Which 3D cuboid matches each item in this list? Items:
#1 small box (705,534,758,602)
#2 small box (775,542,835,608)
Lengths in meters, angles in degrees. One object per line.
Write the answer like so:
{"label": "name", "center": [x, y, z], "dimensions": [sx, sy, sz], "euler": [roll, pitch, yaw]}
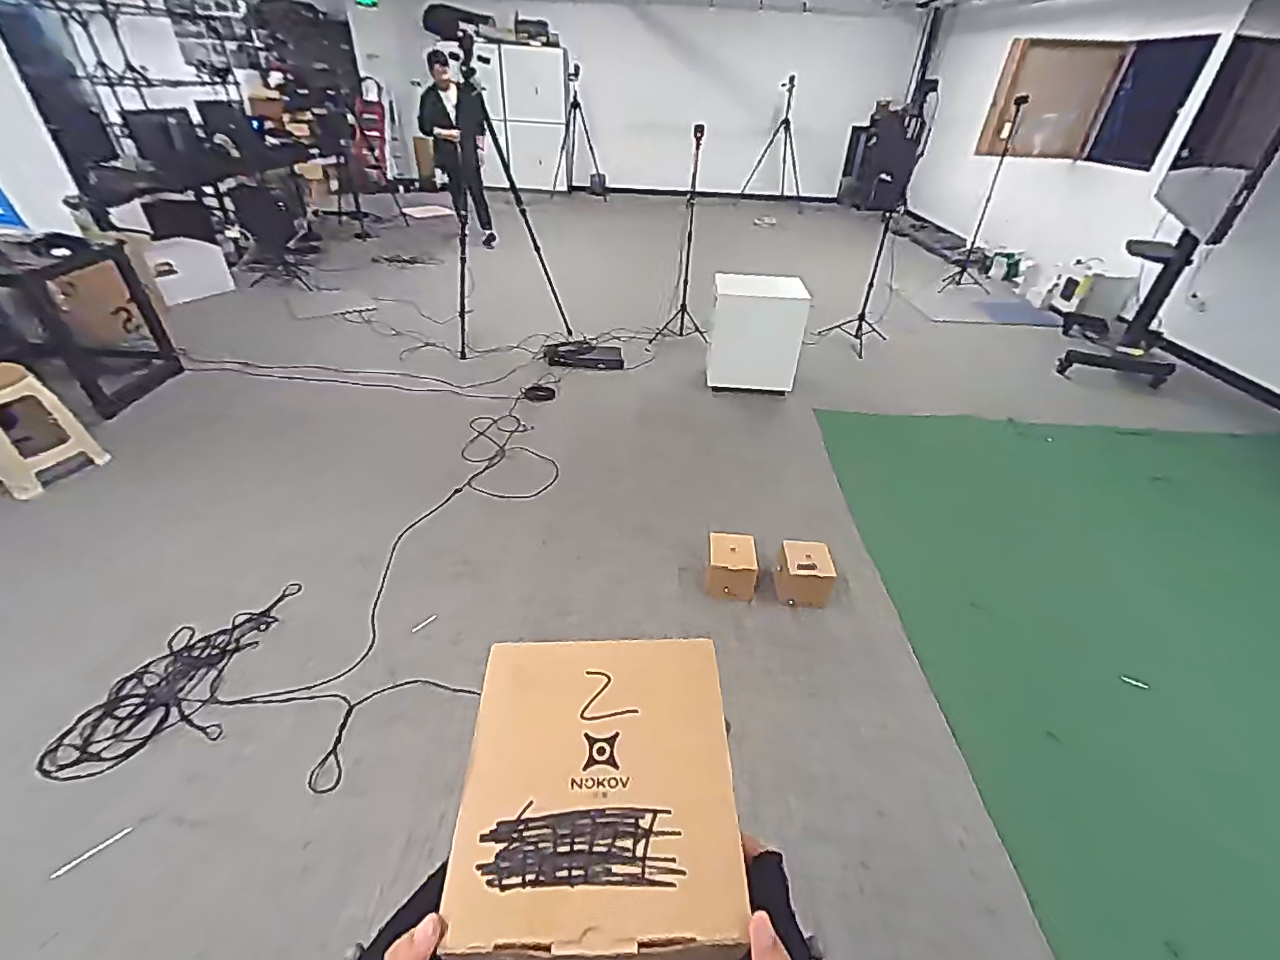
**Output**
{"label": "small box", "center": [0.333, 0.325, 2.002], "dimensions": [0.168, 0.176, 0.179], "euler": [5, 37, 1]}
{"label": "small box", "center": [0.600, 0.351, 1.987], "dimensions": [0.168, 0.176, 0.179], "euler": [4, 36, 1]}
